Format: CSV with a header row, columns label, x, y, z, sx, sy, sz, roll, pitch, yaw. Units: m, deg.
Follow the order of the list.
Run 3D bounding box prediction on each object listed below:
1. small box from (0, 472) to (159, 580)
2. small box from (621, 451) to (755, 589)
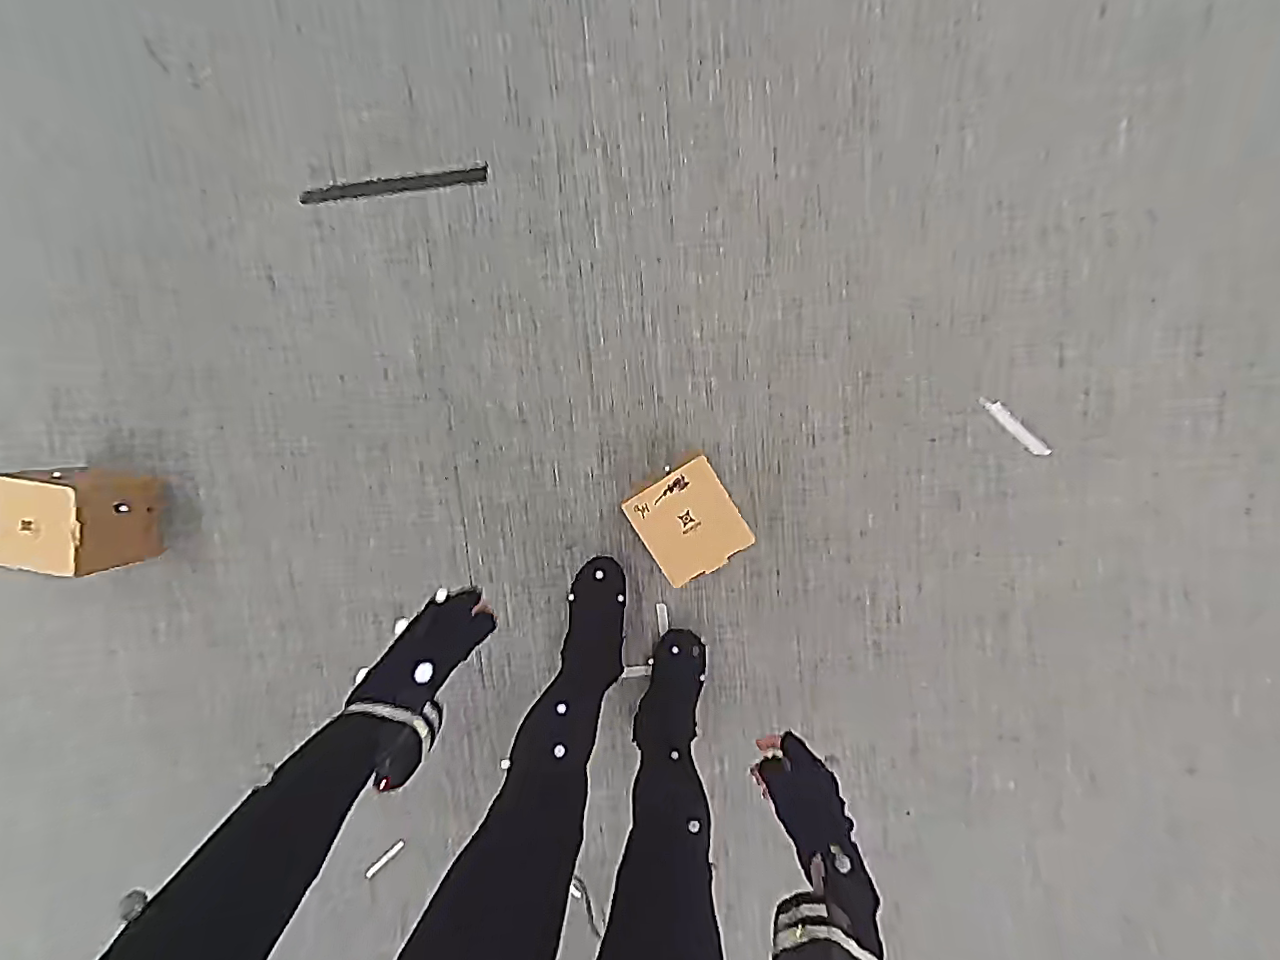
label,x,y,z,sx,sy,sz,roll,pitch,yaw
small box,-1.076,0.079,1.035,0.179,0.176,0.168,8,95,2
small box,0.084,0.062,0.979,0.168,0.176,0.179,-32,95,6
